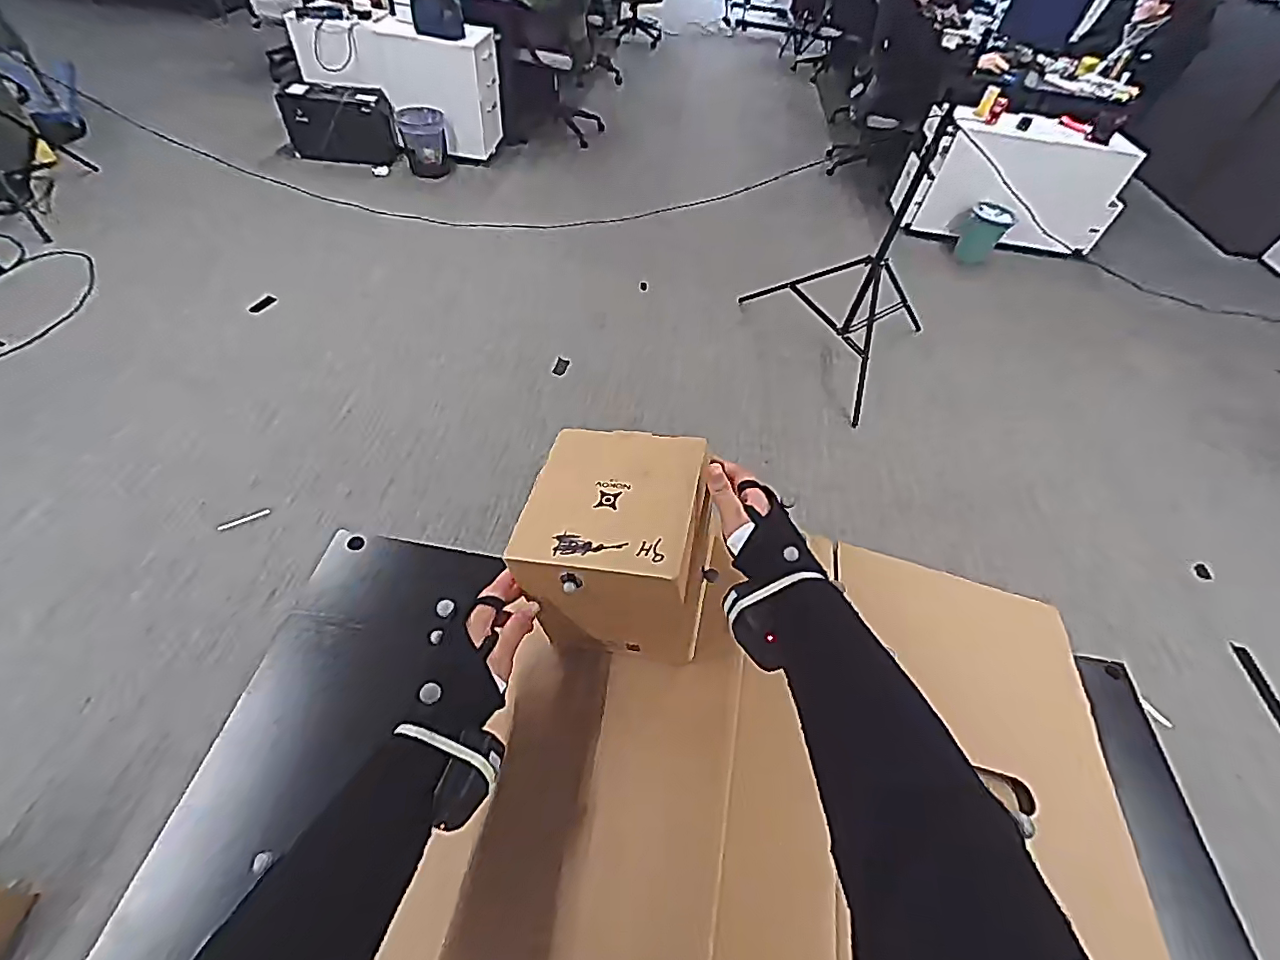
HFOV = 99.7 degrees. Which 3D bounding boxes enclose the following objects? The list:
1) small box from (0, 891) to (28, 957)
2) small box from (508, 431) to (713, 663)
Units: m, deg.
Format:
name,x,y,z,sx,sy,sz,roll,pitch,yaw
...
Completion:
name,x,y,z,sx,sy,sz,roll,pitch,yaw
small box,-1.256,0.821,0.943,0.168,0.176,0.179,6,51,-3
small box,-0.014,0.070,0.583,0.168,0.176,0.179,4,48,15
